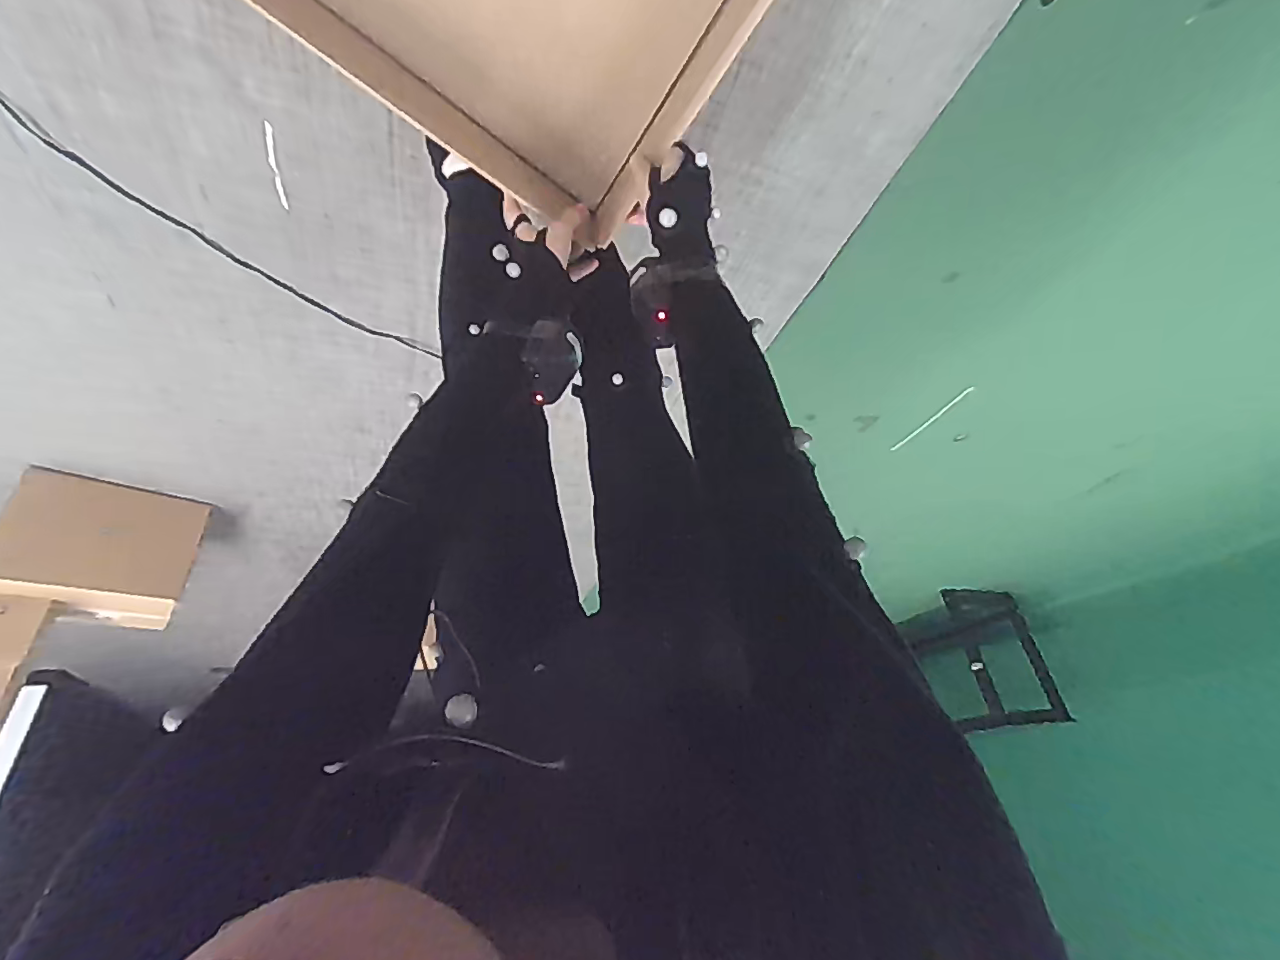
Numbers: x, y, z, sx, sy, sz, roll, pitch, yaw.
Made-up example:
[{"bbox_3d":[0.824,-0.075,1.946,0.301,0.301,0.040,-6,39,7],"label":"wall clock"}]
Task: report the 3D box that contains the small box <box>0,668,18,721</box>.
[{"bbox_3d":[-1.620,0.537,1.269,0.168,0.176,0.179,19,140,-35],"label":"small box"}]
